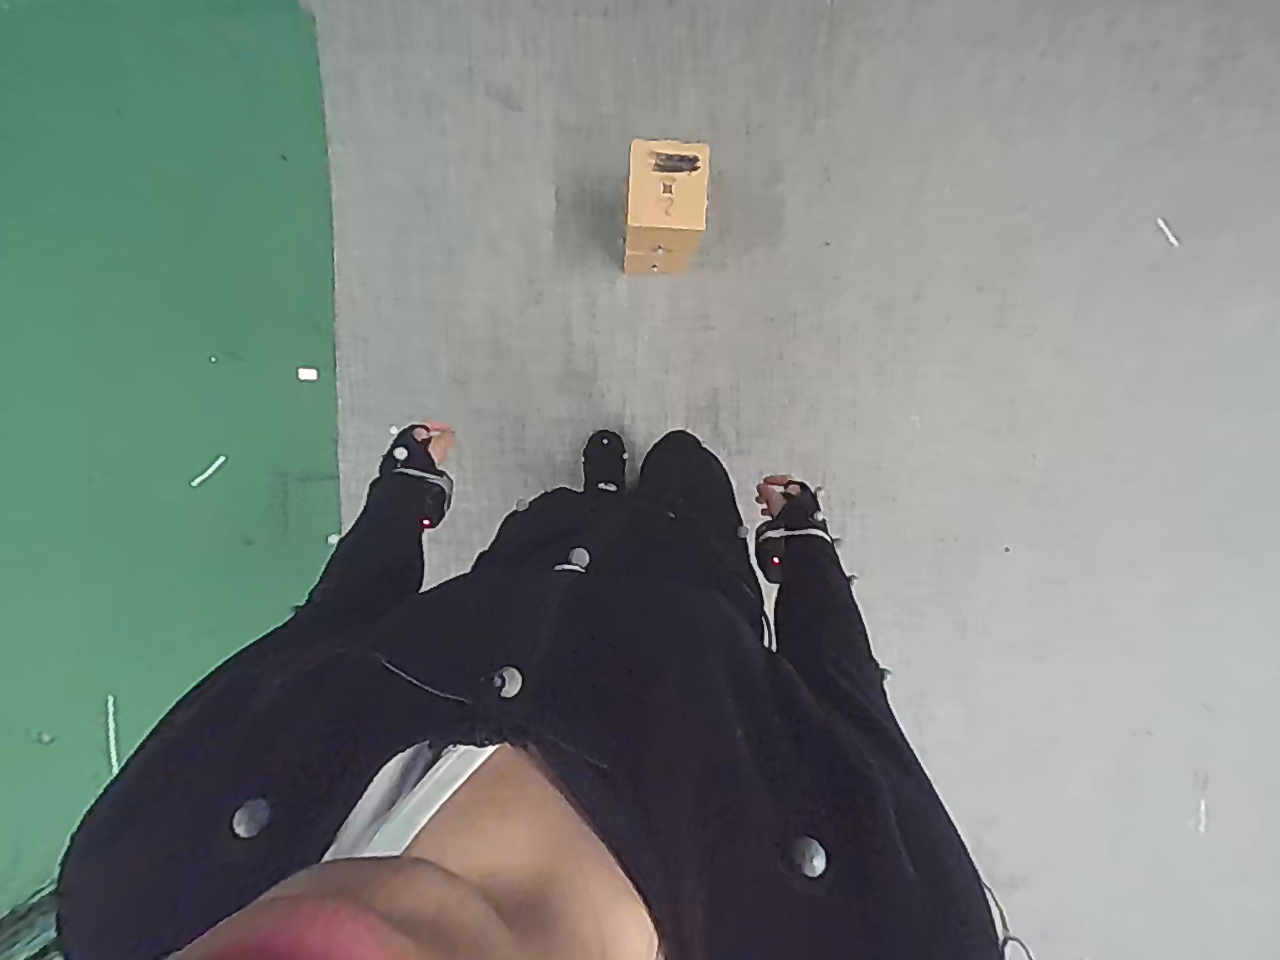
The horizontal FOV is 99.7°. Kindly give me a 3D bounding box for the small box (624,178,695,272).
[{"bbox_3d":[0.044,-0.634,1.365,0.168,0.176,0.179,0,96,-3],"label":"small box"}]
